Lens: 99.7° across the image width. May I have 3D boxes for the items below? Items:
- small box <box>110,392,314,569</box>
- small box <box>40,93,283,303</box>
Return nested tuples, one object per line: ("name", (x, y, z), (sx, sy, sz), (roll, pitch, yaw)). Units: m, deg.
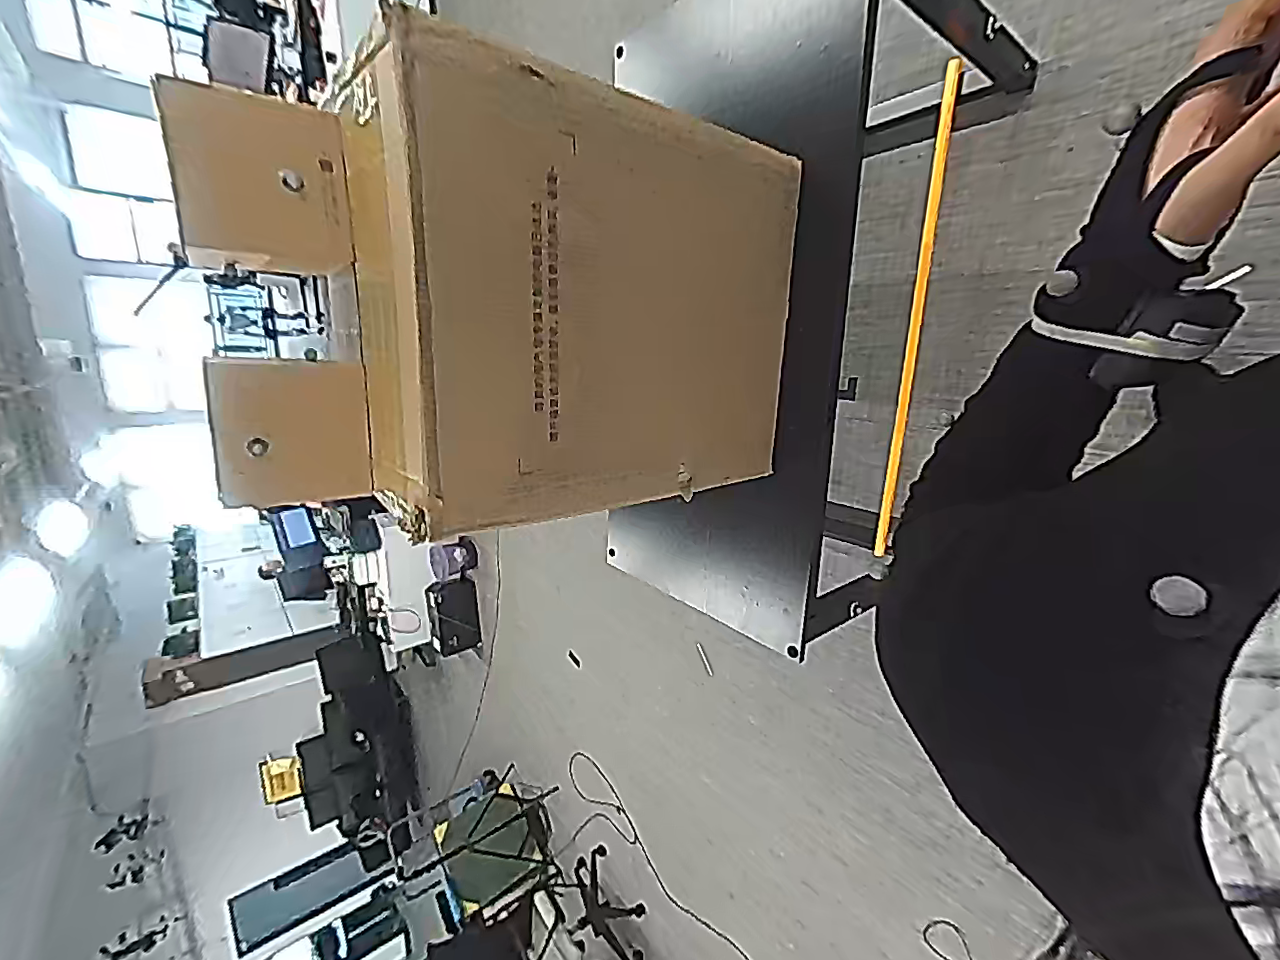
("small box", (-0.515, -0.013, 0.671), (0.168, 0.176, 0.179), (19, 111, 49))
("small box", (-0.516, -0.293, 0.610), (0.179, 0.176, 0.168), (17, 112, 51))
